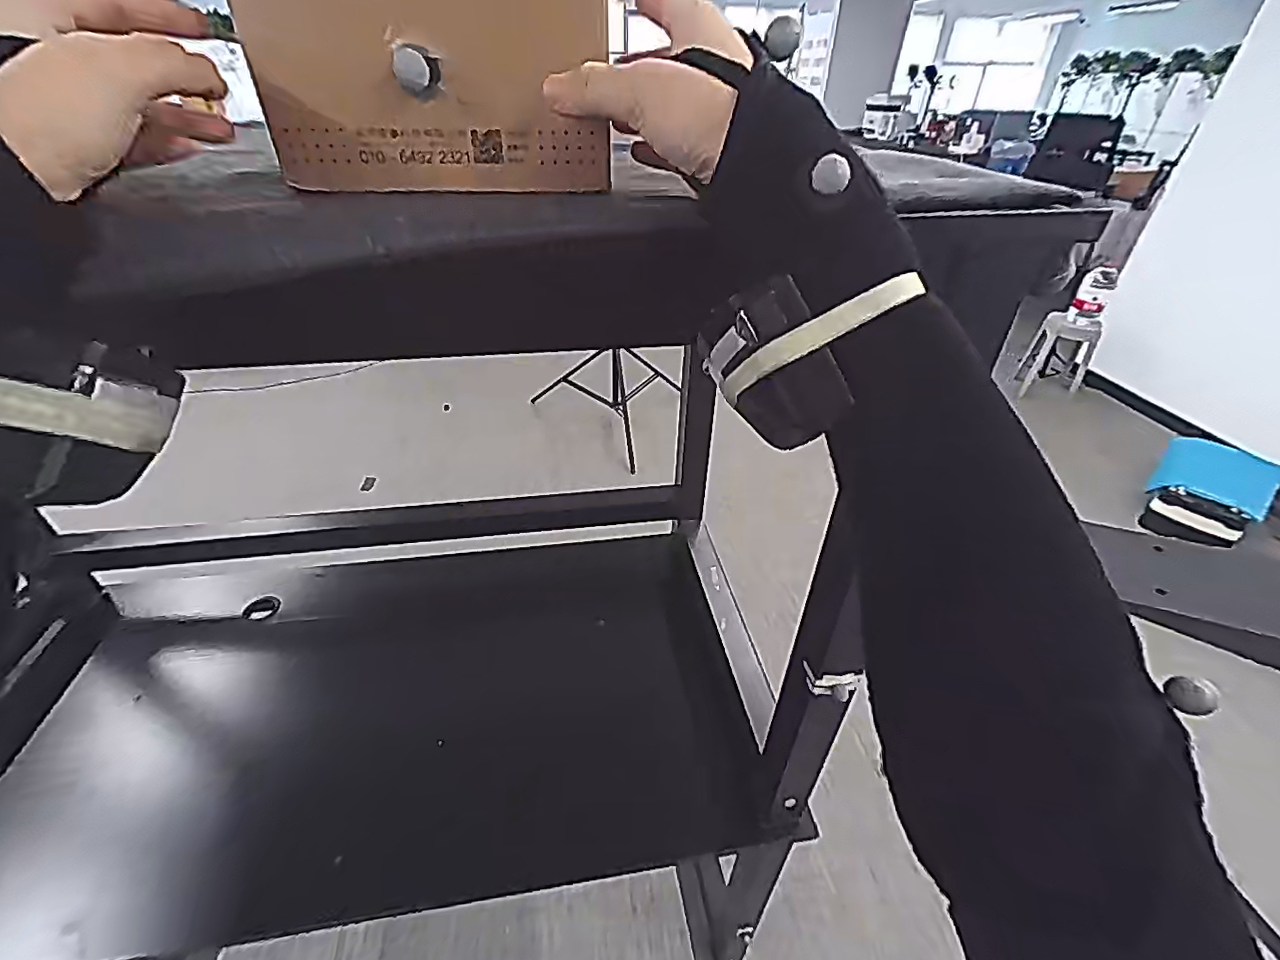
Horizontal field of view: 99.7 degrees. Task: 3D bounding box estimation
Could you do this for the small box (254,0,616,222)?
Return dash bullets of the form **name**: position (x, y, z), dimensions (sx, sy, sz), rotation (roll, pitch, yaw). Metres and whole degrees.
- **small box**: position (-0.098, -0.255, 0.307), dimensions (0.168, 0.176, 0.179), rotation (-1, 36, -3)
